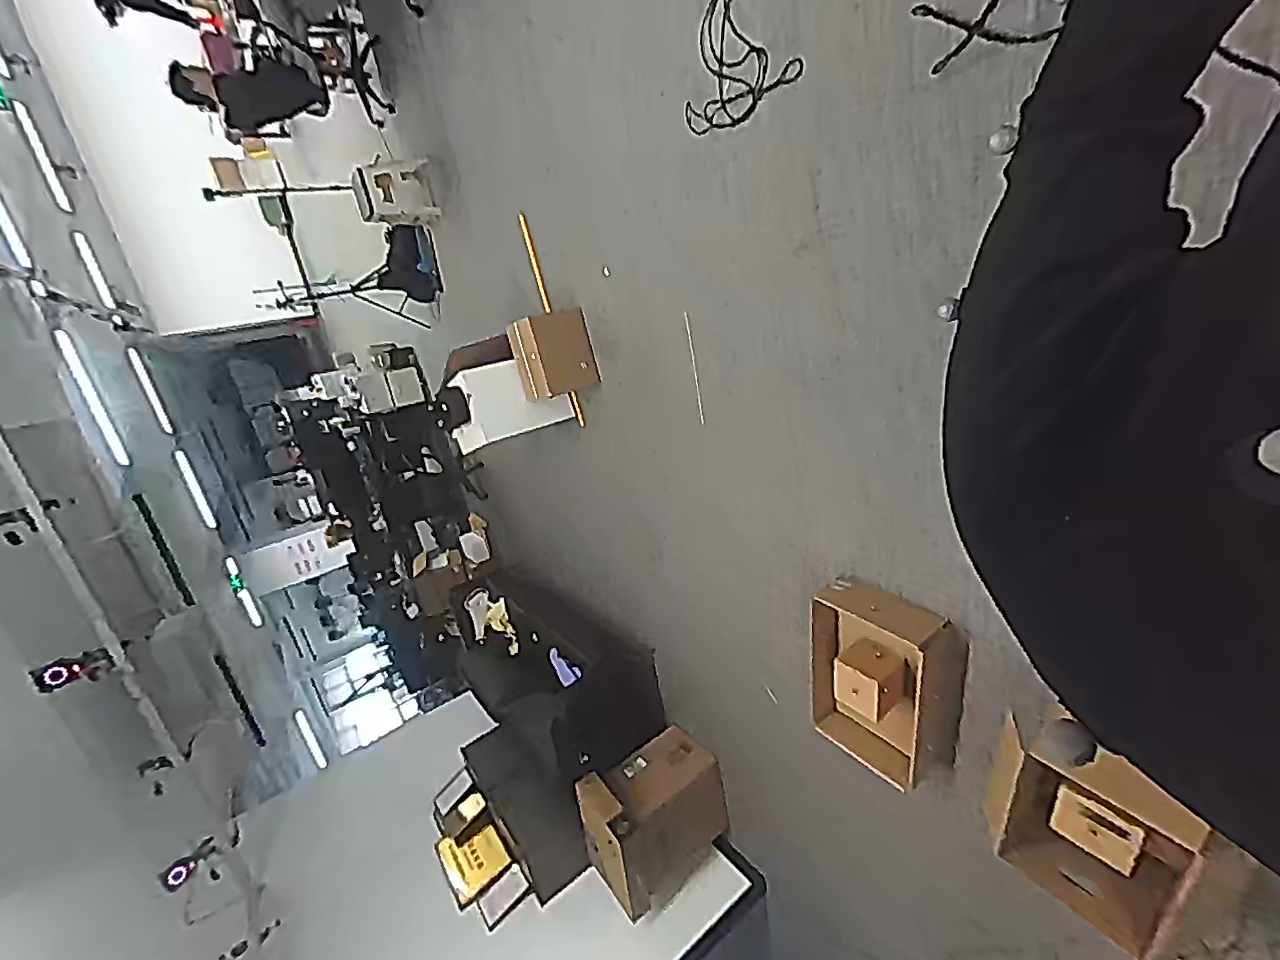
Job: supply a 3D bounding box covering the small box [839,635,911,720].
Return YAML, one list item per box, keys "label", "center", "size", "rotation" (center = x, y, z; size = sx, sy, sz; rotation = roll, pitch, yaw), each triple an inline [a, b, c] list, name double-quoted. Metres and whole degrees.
- label: "small box"
  center: [0.802, 0.667, 1.844]
  size: [0.168, 0.176, 0.179]
  rotation: [22, 127, 52]
